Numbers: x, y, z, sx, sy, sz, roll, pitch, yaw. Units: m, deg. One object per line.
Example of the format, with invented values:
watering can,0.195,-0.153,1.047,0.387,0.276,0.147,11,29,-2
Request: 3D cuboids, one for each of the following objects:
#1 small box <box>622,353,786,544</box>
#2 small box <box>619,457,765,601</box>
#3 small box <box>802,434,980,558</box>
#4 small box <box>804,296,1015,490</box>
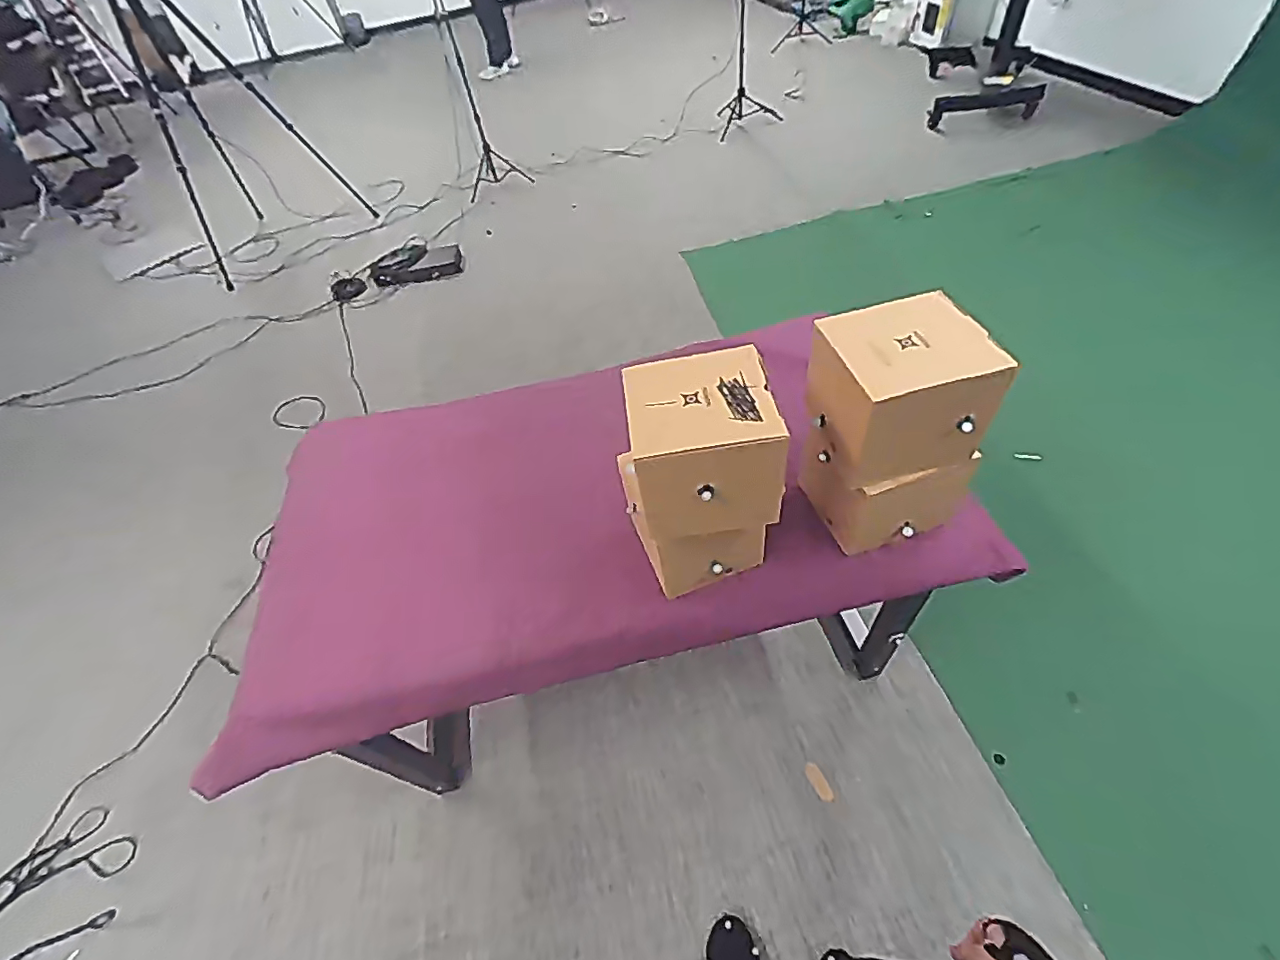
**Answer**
small box,0.078,-0.037,0.702,0.179,0.176,0.168,-9,49,3
small box,0.079,0.055,0.841,0.168,0.176,0.179,-20,50,-6
small box,0.371,-0.006,0.840,0.179,0.176,0.168,-18,50,-5
small box,0.336,-0.111,0.719,0.179,0.176,0.168,-14,50,-1
